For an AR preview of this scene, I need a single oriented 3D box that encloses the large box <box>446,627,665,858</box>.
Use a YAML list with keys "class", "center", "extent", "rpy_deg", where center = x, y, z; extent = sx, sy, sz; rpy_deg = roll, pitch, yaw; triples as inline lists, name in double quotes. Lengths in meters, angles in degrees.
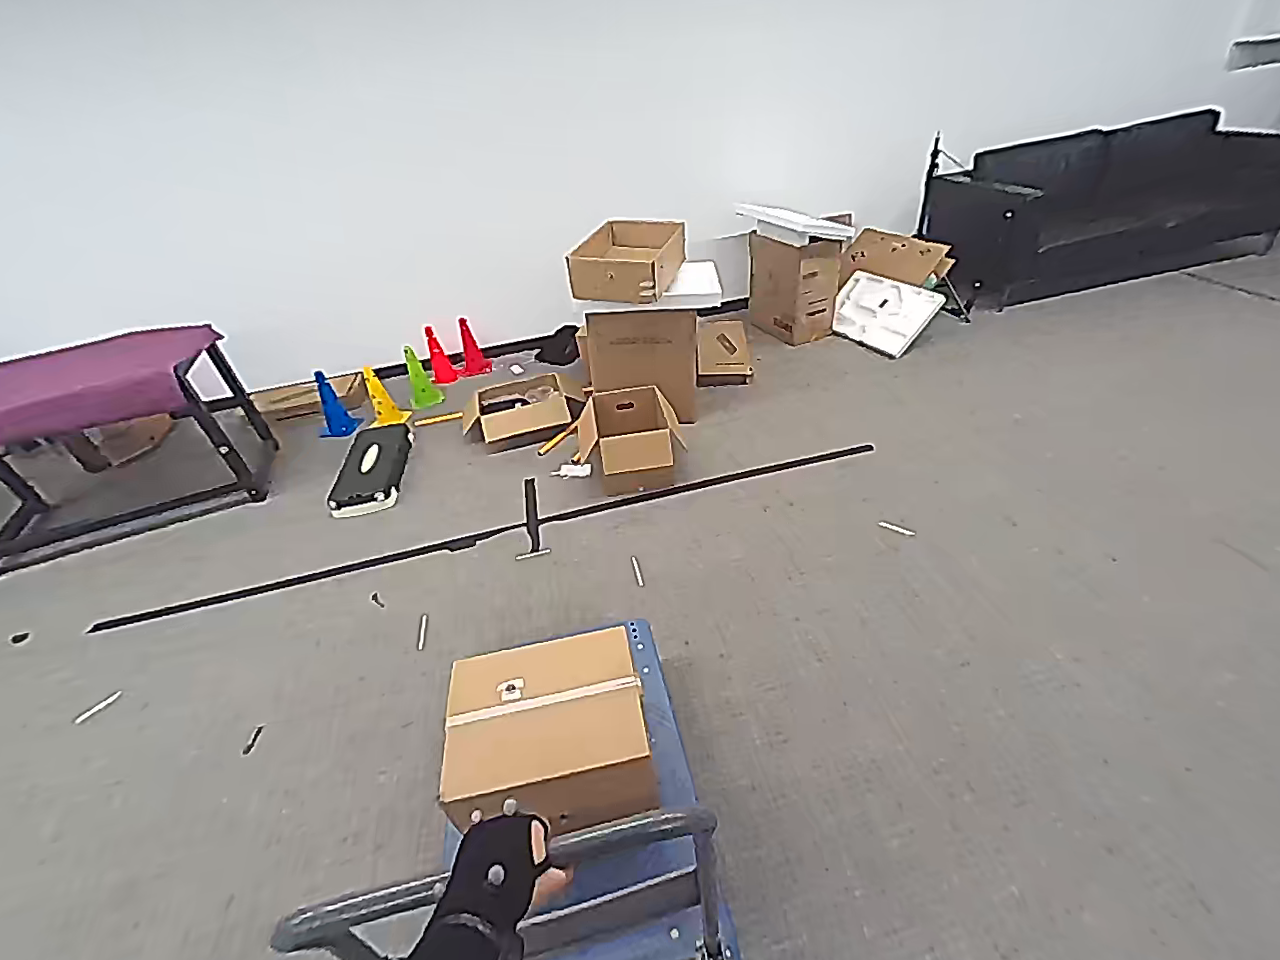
- class: "large box"
  center: [-0.181, 0.595, 1.237]
  extent: [0.408, 0.320, 0.320]
  rpy_deg: [-12, 36, -4]
